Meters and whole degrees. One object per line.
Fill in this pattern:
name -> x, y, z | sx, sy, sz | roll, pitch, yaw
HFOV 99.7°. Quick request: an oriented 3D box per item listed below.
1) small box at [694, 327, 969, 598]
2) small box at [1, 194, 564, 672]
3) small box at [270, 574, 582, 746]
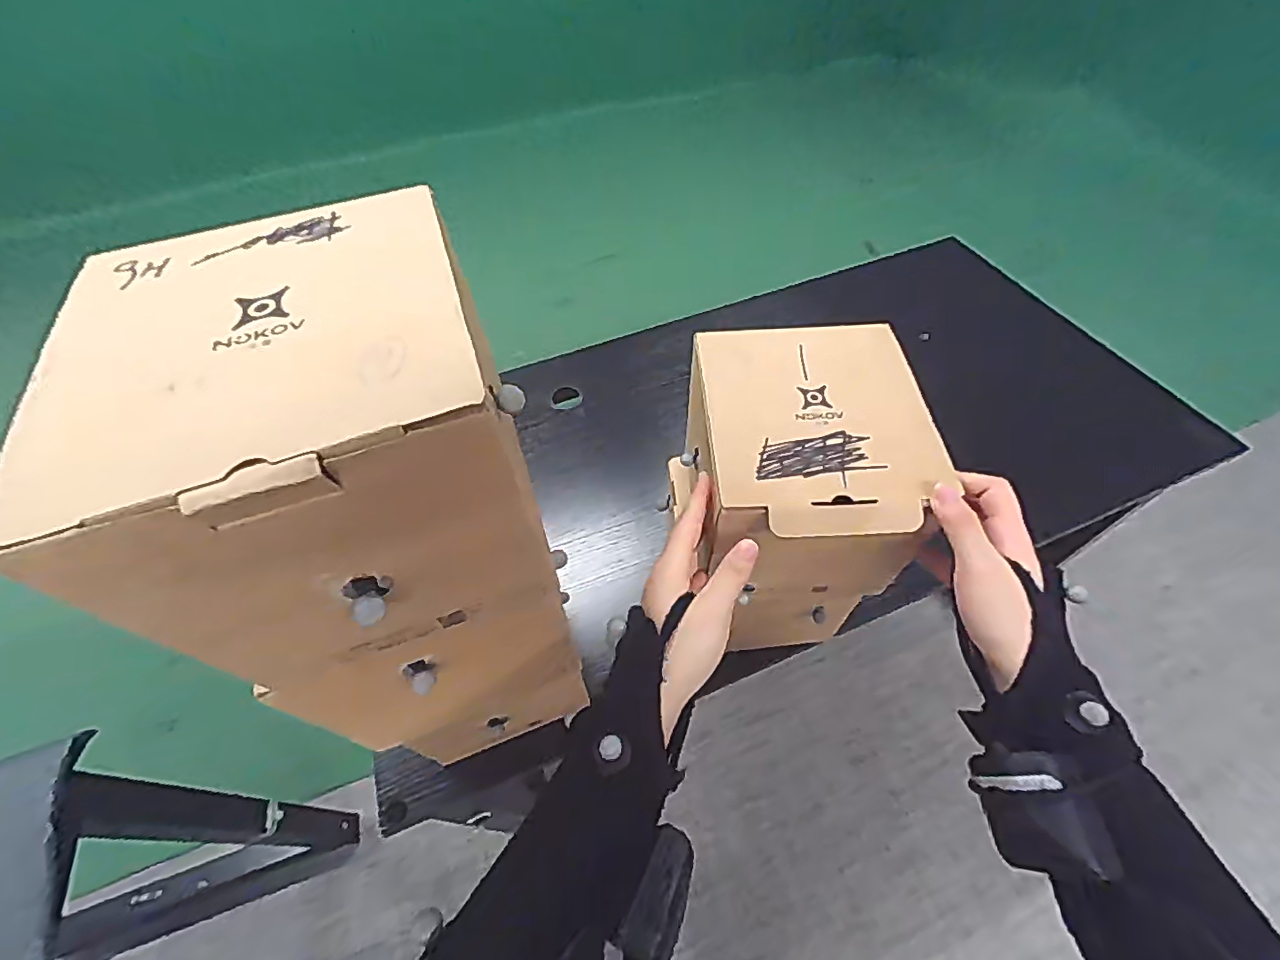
small box -> 0.138, -0.005, 0.470 | 0.168, 0.176, 0.179 | -4, 56, 0
small box -> -0.149, -0.014, 0.293 | 0.168, 0.176, 0.179 | -18, 56, -9
small box -> -0.151, 0.084, 0.425 | 0.179, 0.176, 0.168 | -19, 56, -10
